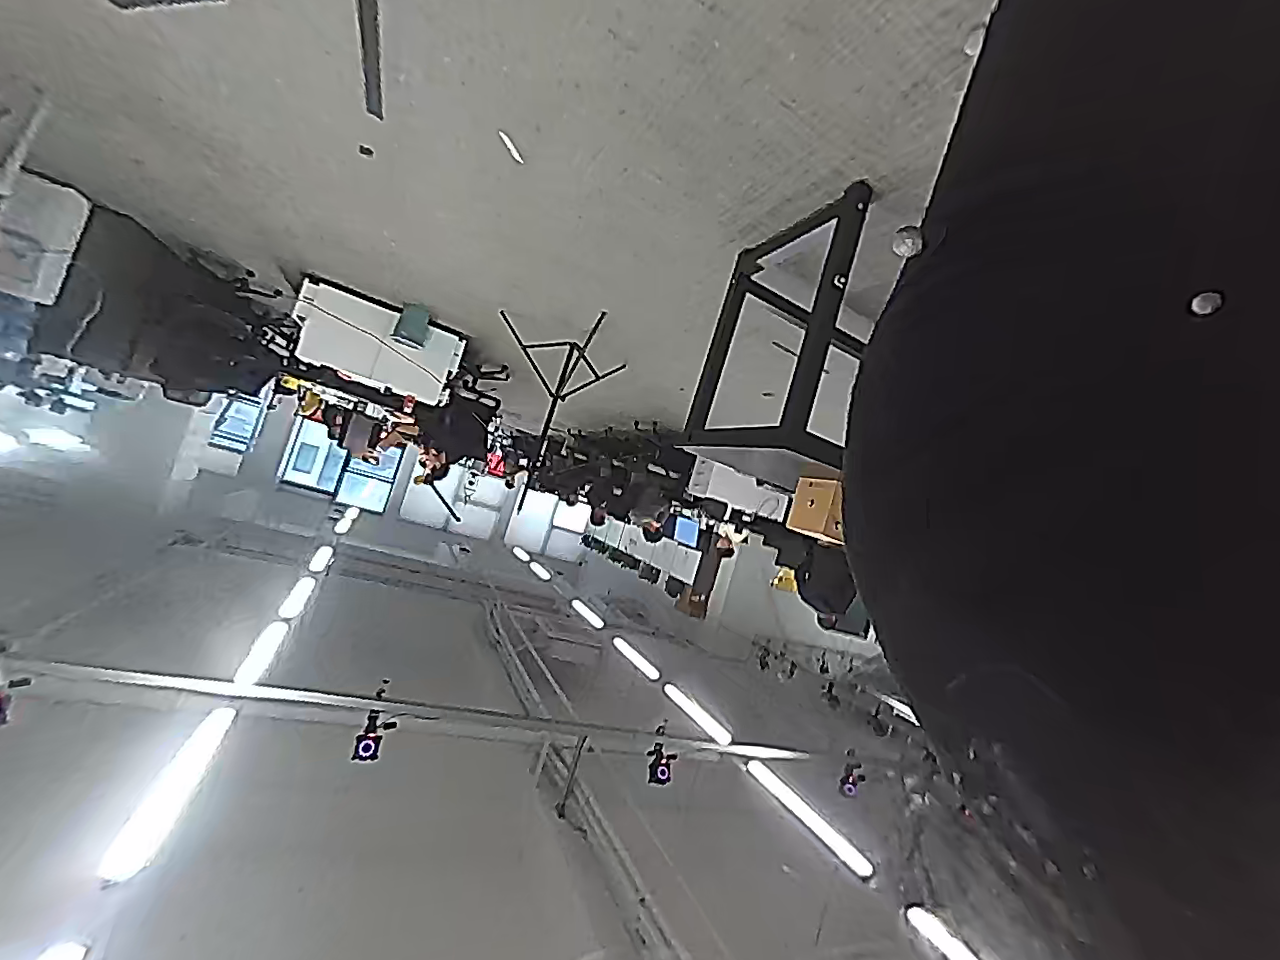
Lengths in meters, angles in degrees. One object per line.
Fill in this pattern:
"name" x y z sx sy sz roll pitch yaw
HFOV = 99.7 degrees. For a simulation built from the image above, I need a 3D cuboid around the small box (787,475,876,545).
"small box" 0.591 0.087 1.668 0.179 0.176 0.168 18 178 -23
